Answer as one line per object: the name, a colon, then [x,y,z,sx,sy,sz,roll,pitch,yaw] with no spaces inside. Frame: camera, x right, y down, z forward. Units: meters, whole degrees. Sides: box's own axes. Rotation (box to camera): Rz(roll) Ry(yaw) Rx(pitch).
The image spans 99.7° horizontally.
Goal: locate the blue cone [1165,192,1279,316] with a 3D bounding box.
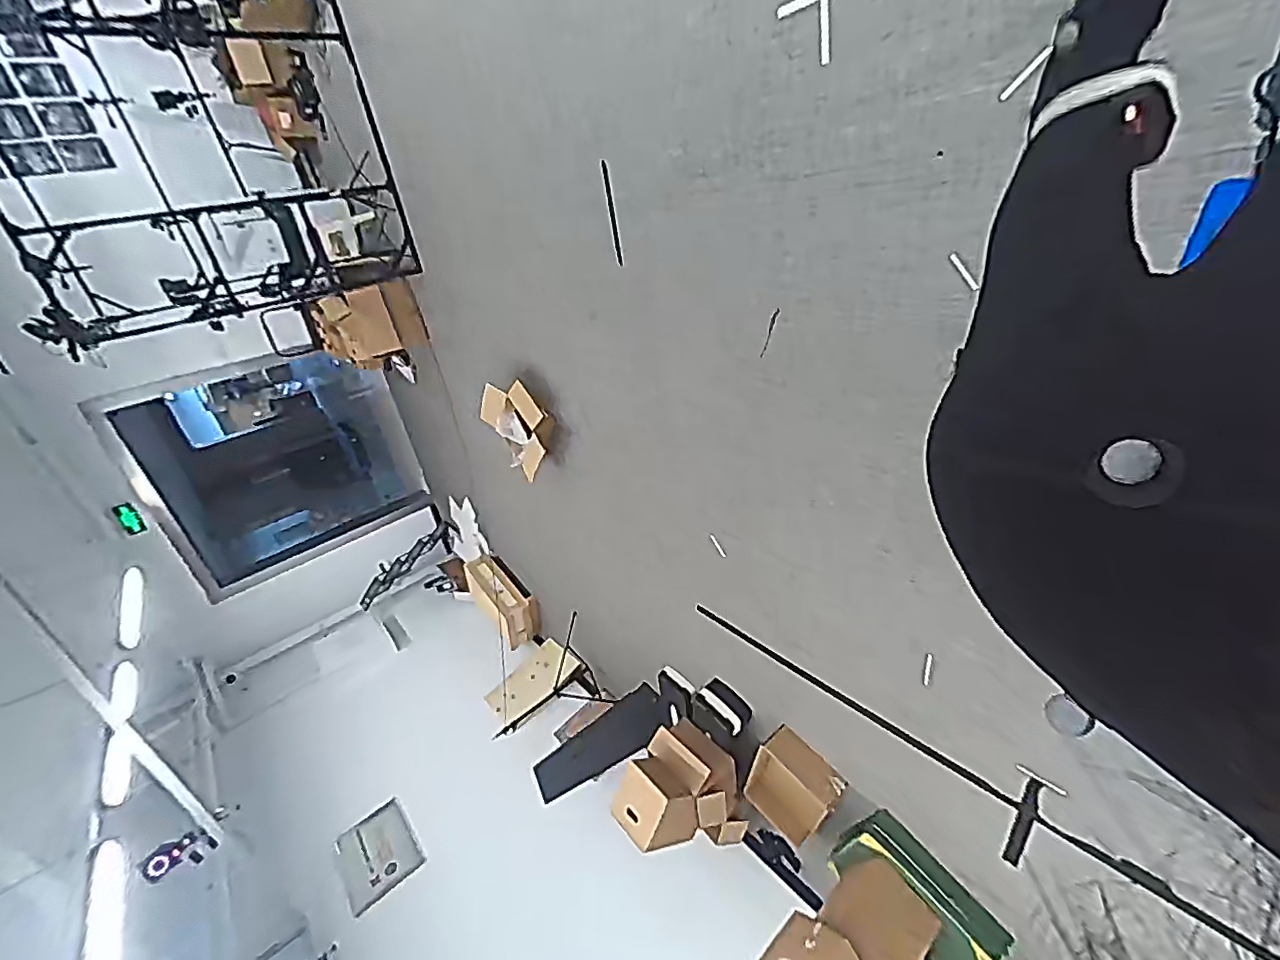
blue cone: [0.953,-0.335,0.864,0.193,0.380,0.192,26,133,43]
